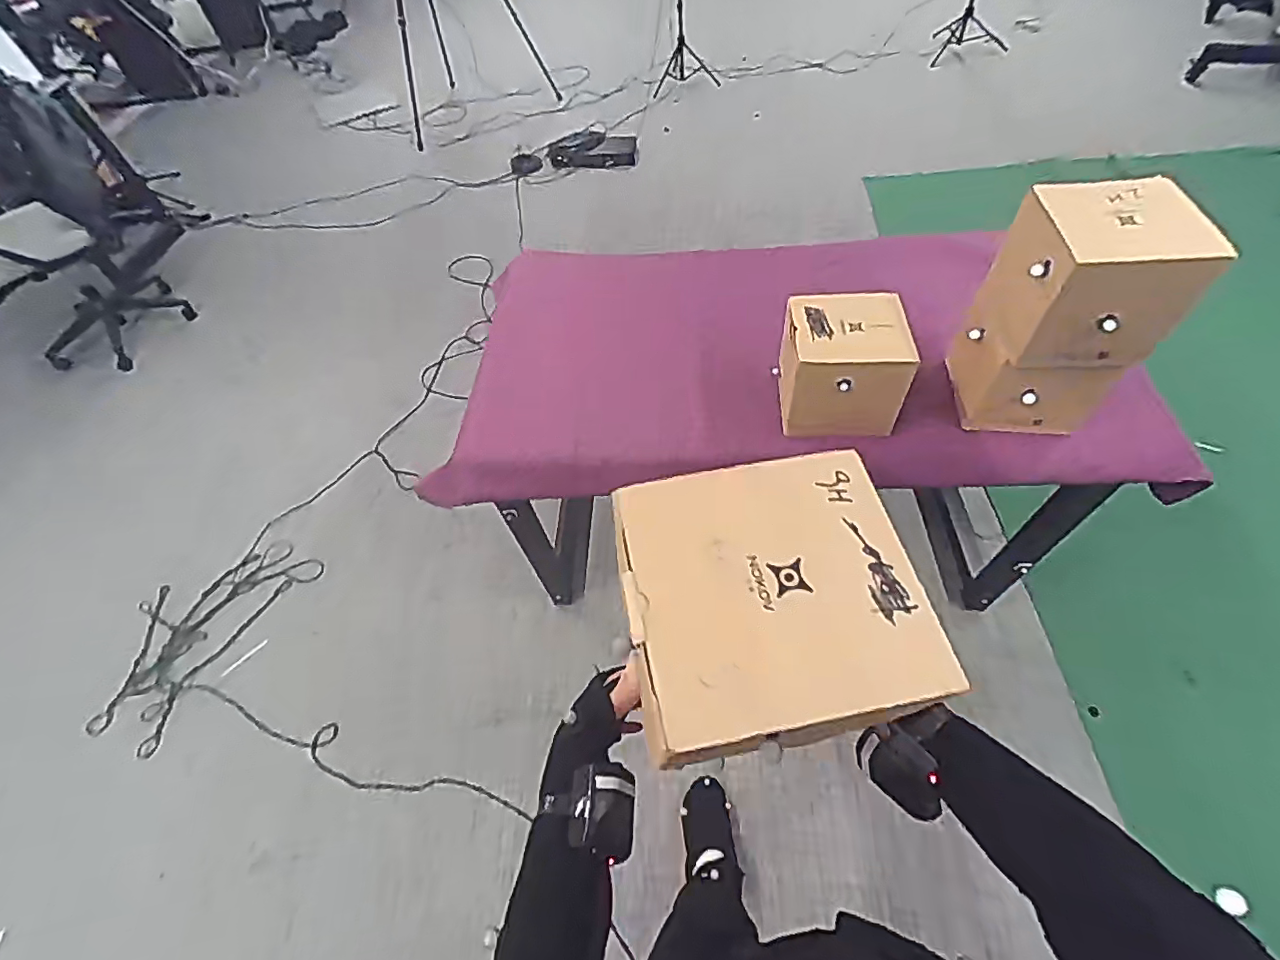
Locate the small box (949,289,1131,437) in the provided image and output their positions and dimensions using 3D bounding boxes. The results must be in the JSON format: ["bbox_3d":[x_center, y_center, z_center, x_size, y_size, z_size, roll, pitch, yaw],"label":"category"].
[{"bbox_3d":[0.624,-0.185,0.869,0.168,0.176,0.179,4,55,10],"label":"small box"}]

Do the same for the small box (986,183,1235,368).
[{"bbox_3d":[0.602,-0.266,0.726,0.168,0.176,0.179,1,55,8],"label":"small box"}]

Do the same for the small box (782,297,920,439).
[{"bbox_3d":[0.334,-0.181,0.900,0.179,0.176,0.168,1,54,7],"label":"small box"}]

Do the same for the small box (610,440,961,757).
[{"bbox_3d":[0.080,0.095,0.397,0.179,0.176,0.168,-9,60,-5],"label":"small box"}]
